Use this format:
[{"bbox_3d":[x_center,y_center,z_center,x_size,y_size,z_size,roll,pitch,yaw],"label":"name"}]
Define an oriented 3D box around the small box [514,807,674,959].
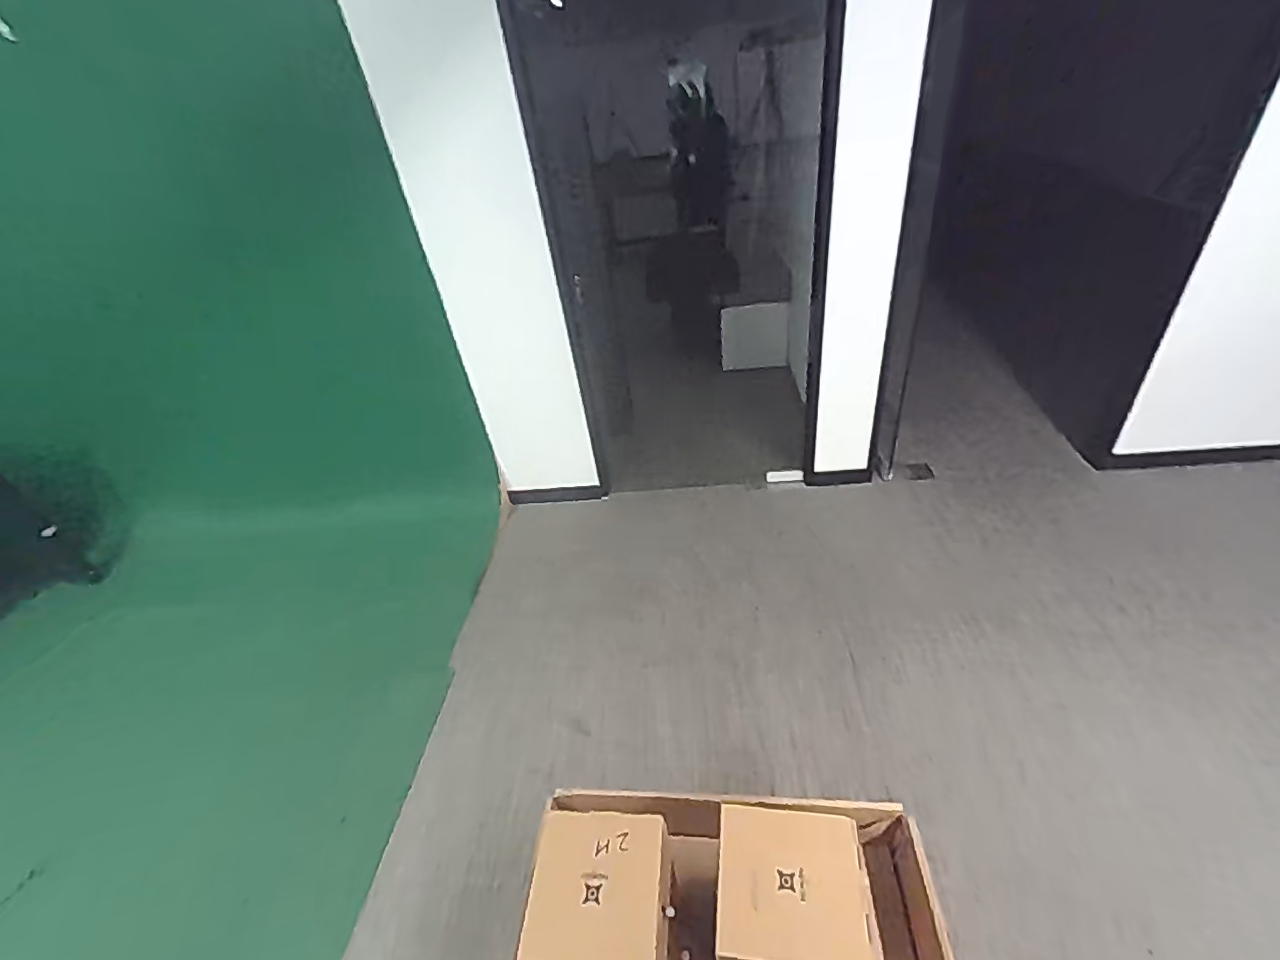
[{"bbox_3d":[-0.046,0.570,0.722,0.168,0.176,0.179,-3,35,10],"label":"small box"}]
